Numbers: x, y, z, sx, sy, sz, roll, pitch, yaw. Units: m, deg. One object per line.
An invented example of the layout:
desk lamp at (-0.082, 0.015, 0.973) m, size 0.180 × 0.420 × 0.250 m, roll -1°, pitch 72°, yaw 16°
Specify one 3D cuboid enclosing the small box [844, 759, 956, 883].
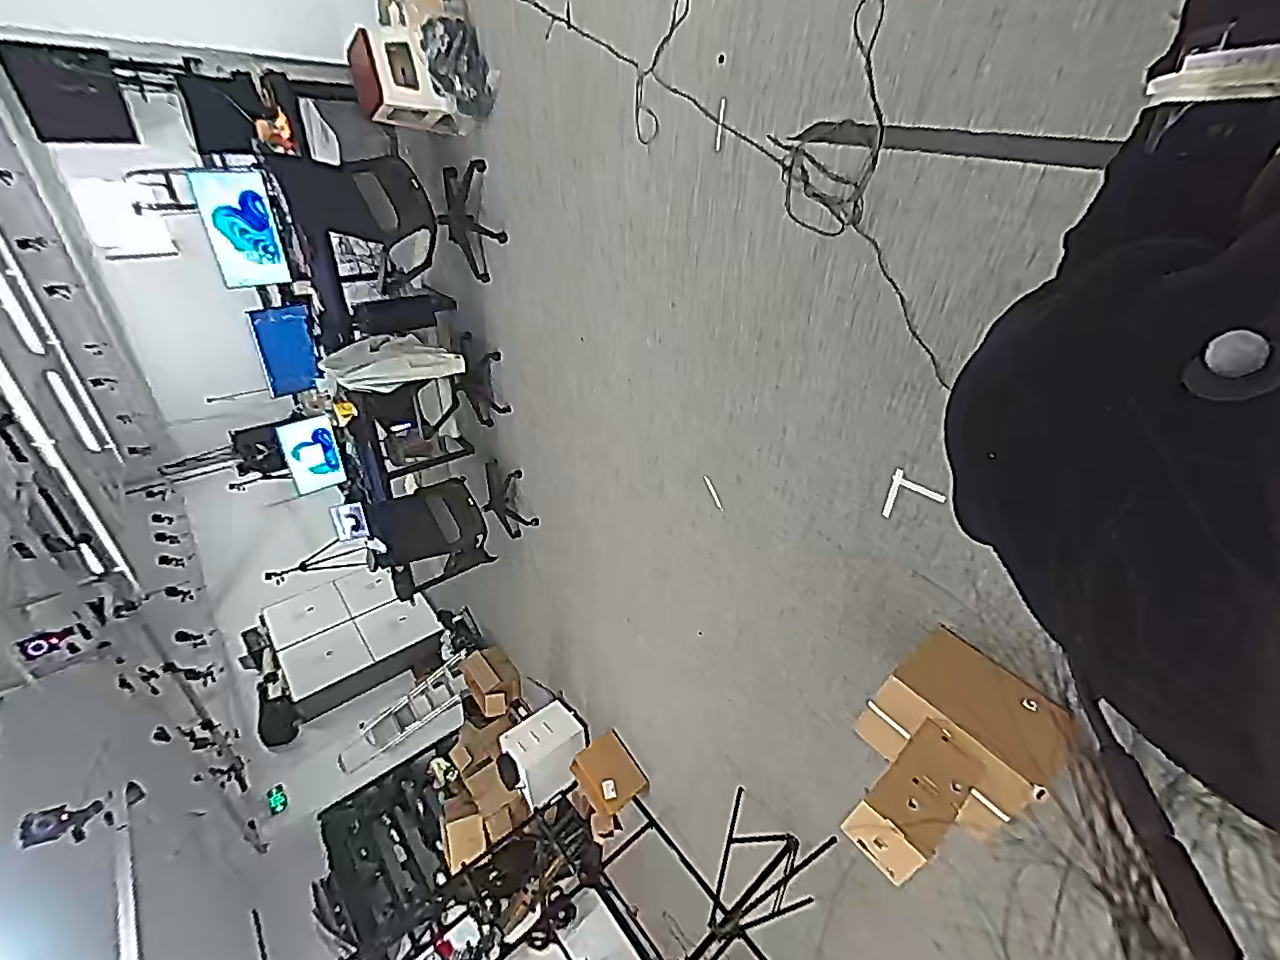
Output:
small box at (0.647, 0.835, 1.338) m, size 0.168 × 0.176 × 0.179 m, roll 39°, pitch 136°, yaw 34°
